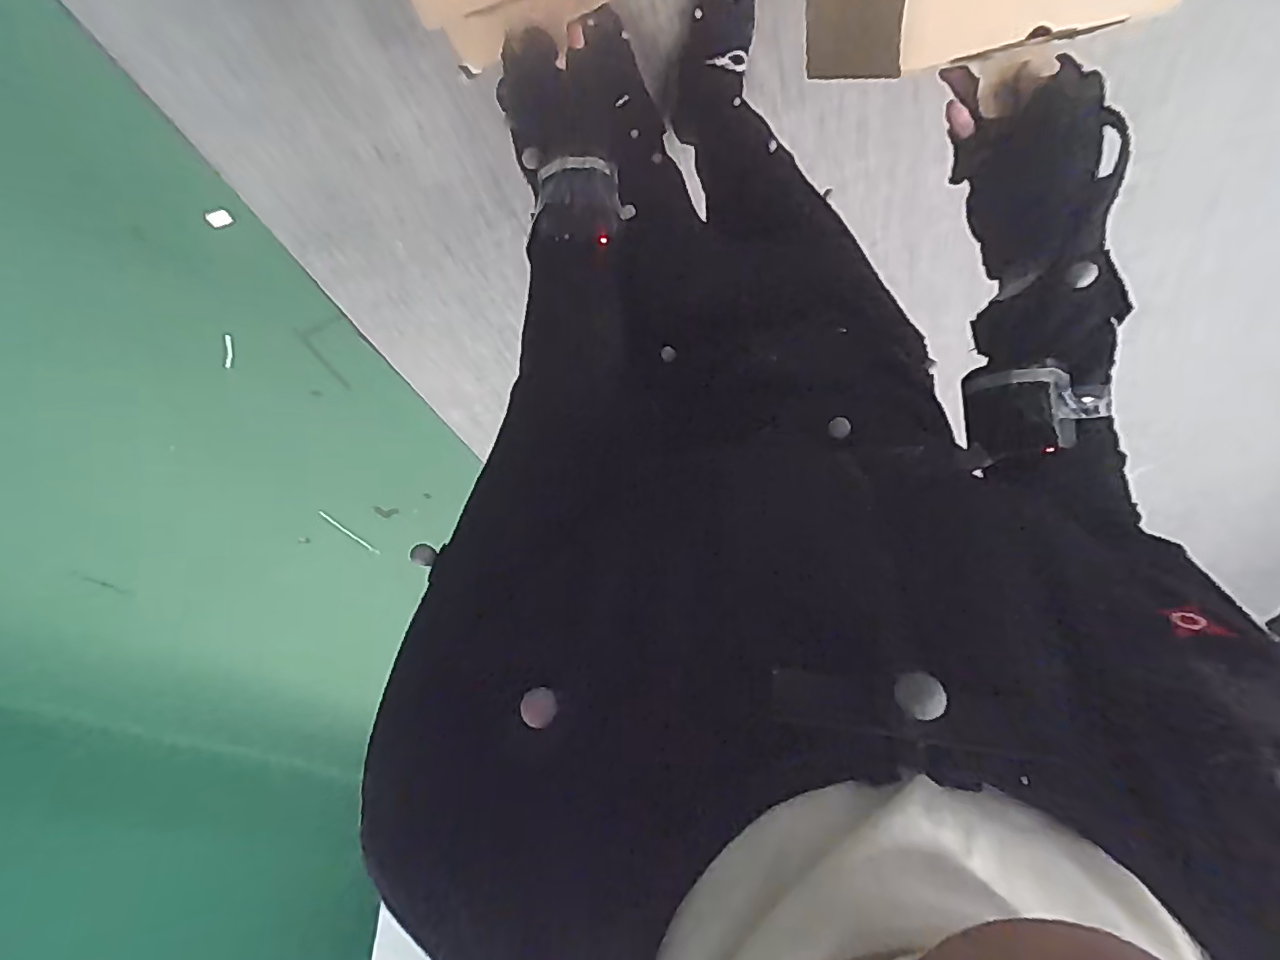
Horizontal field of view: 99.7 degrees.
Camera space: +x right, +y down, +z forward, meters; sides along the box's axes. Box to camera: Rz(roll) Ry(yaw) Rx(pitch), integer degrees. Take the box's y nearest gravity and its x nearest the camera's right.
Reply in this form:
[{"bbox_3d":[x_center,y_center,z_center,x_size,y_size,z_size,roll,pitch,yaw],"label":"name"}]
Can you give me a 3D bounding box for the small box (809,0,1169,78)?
[{"bbox_3d":[0.211,-0.377,0.336,0.168,0.176,0.179,-12,127,3],"label":"small box"}]
